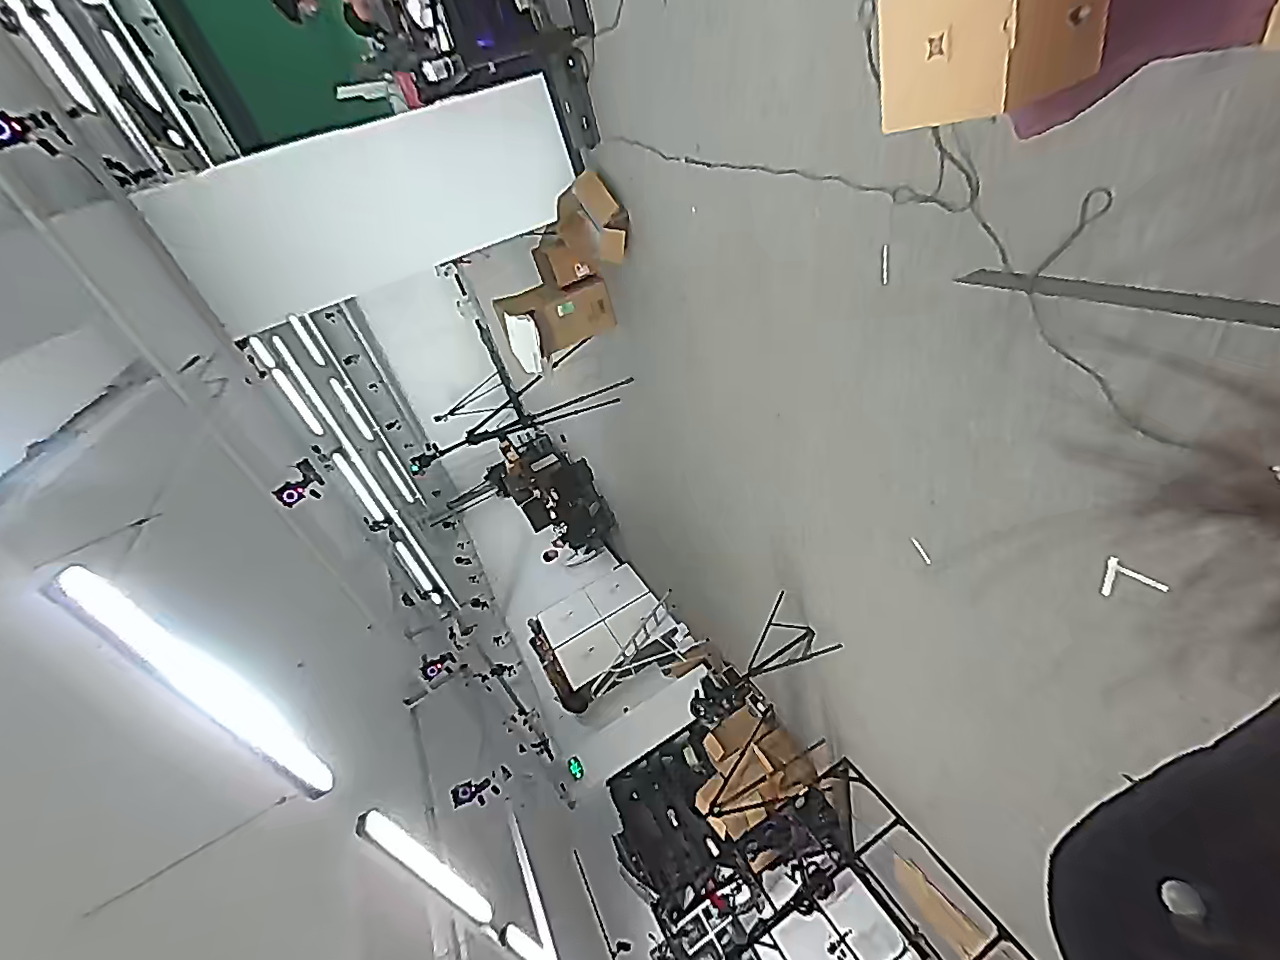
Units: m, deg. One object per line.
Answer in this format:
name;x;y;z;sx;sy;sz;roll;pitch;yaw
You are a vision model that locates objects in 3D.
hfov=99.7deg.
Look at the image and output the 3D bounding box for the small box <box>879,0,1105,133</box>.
small box;0.423;-0.550;0.662;0.179;0.176;0.168;39;153;54
